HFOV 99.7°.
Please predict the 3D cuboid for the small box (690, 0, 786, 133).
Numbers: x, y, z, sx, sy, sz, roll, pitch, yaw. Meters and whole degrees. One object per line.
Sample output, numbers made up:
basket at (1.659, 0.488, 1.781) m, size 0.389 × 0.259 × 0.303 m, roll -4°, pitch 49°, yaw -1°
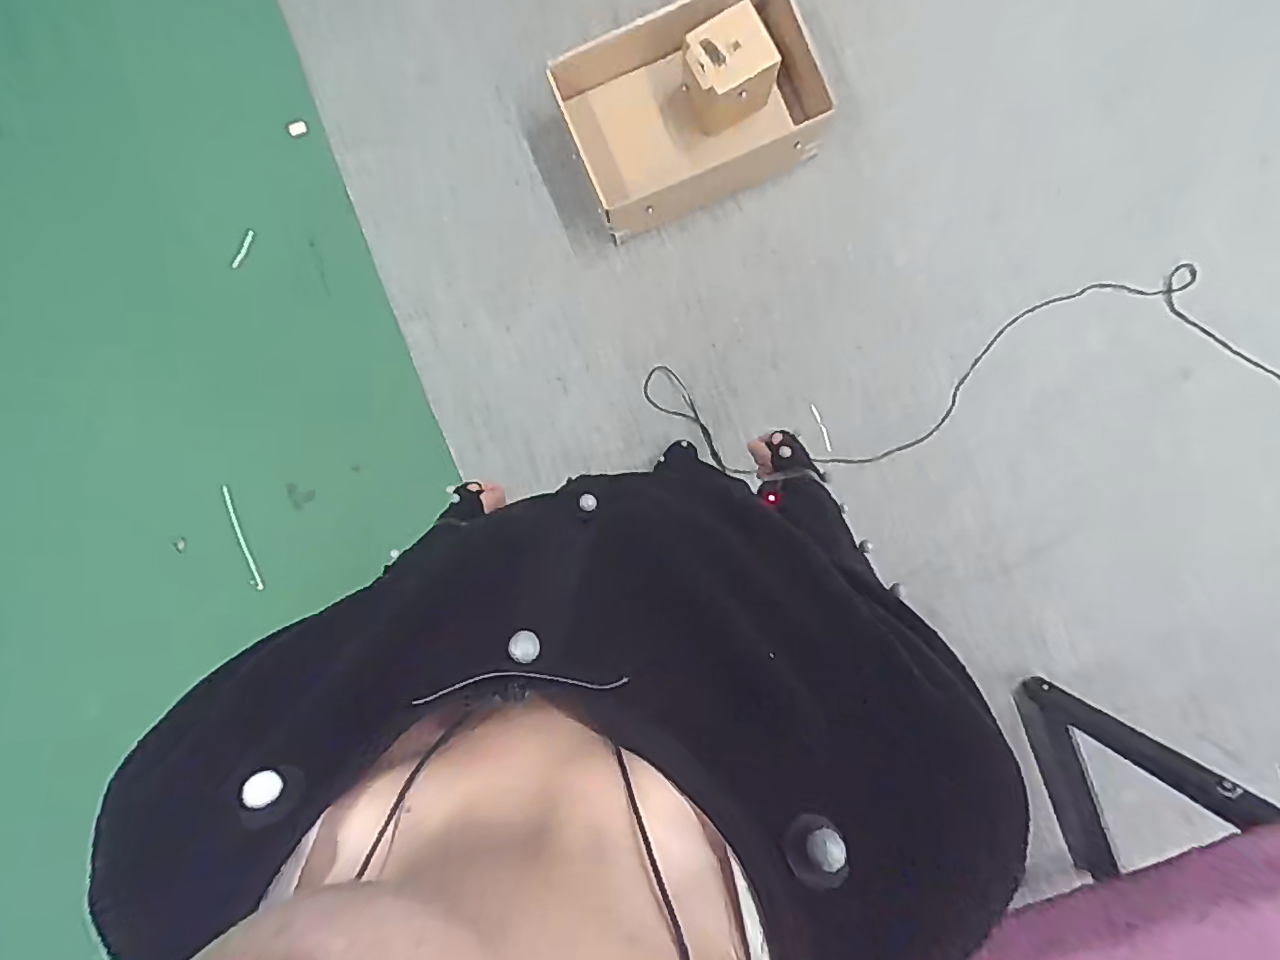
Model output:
small box at (0.237, -1.021, 1.351) m, size 0.179 × 0.176 × 0.168 m, roll -29°, pitch 91°, yaw 3°
